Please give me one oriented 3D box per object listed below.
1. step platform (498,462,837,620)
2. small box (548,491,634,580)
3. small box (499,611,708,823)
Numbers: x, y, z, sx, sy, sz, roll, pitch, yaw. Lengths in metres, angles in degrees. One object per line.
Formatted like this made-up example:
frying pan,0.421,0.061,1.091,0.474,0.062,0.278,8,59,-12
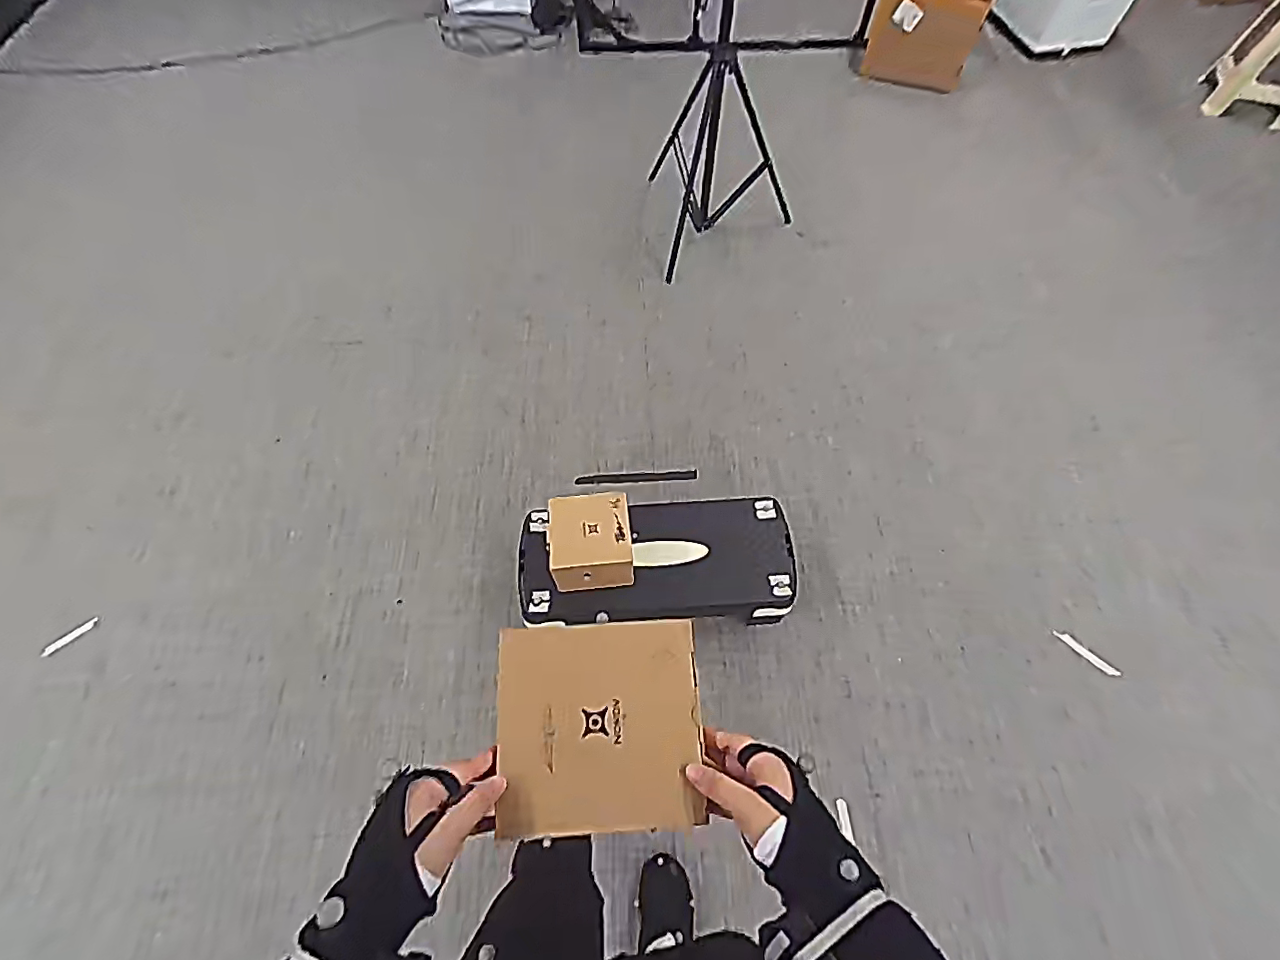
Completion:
step platform,0.054,0.146,1.189,0.684,0.204,0.286,-3,62,-2
small box,-0.107,0.141,1.232,0.179,0.176,0.168,-6,63,-3
small box,-0.037,0.232,0.549,0.179,0.176,0.168,-4,67,-2
